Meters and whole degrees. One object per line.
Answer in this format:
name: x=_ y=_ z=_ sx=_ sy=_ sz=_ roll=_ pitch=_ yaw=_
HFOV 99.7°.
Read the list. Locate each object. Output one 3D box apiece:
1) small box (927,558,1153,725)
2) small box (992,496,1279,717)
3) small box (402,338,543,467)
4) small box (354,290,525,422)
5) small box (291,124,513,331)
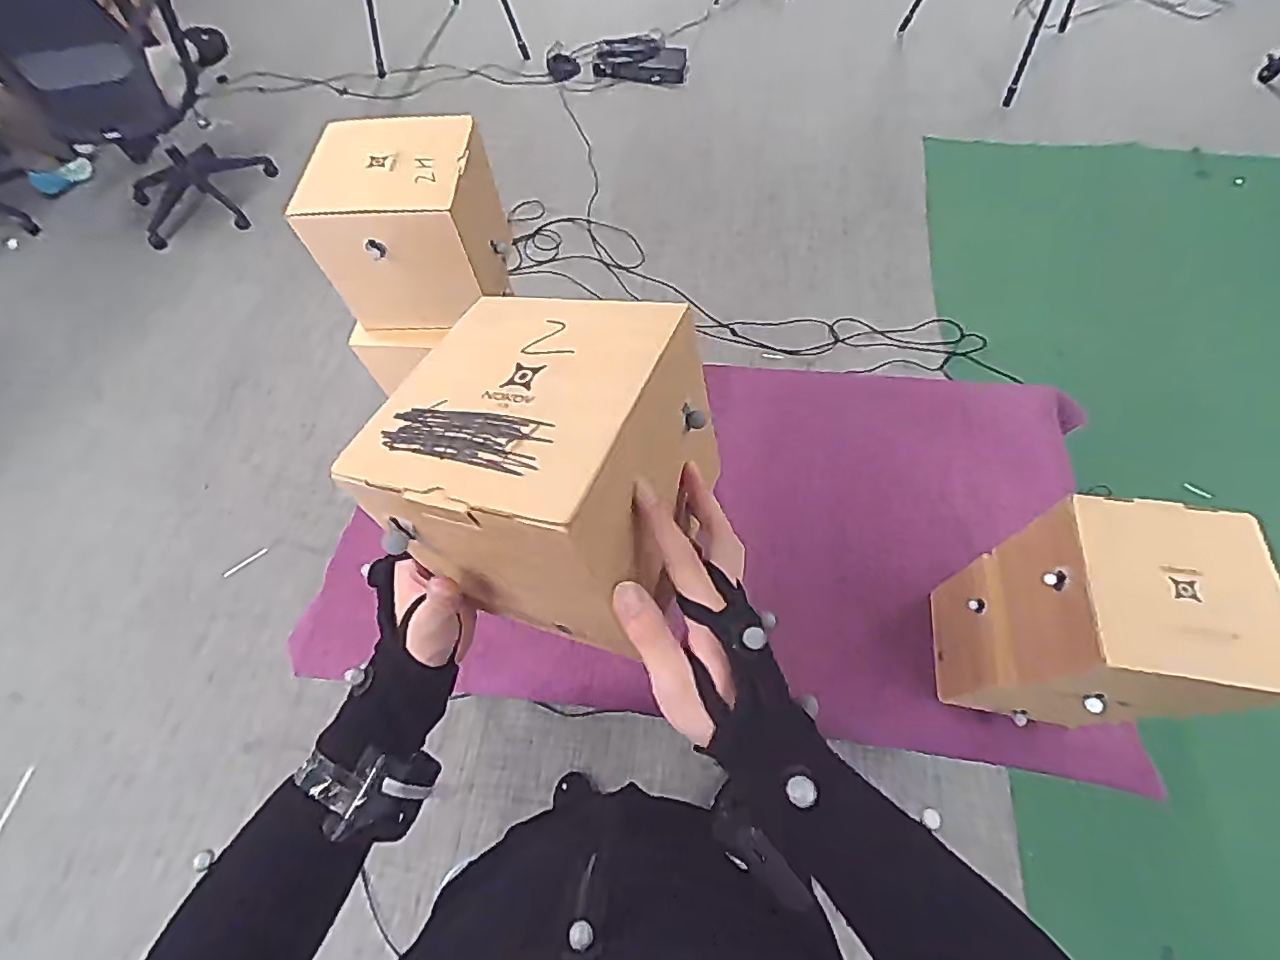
small box: x=0.511 y=0.221 z=0.721 sx=0.179 sy=0.176 sz=0.168 roll=9 pitch=62 yaw=7
small box: x=0.507 y=0.141 z=0.579 sx=0.168 sy=0.176 sz=0.179 roll=8 pitch=63 yaw=9
small box: x=-0.276 y=-0.132 z=0.941 sx=0.179 sy=0.176 sz=0.168 roll=2 pitch=63 yaw=4
small box: x=-0.278 y=-0.201 z=0.795 sx=0.168 sy=0.176 sz=0.179 roll=3 pitch=62 yaw=4
small box: x=-0.270 y=-0.299 z=0.661 sx=0.179 sy=0.176 sz=0.168 roll=0 pitch=62 yaw=2
